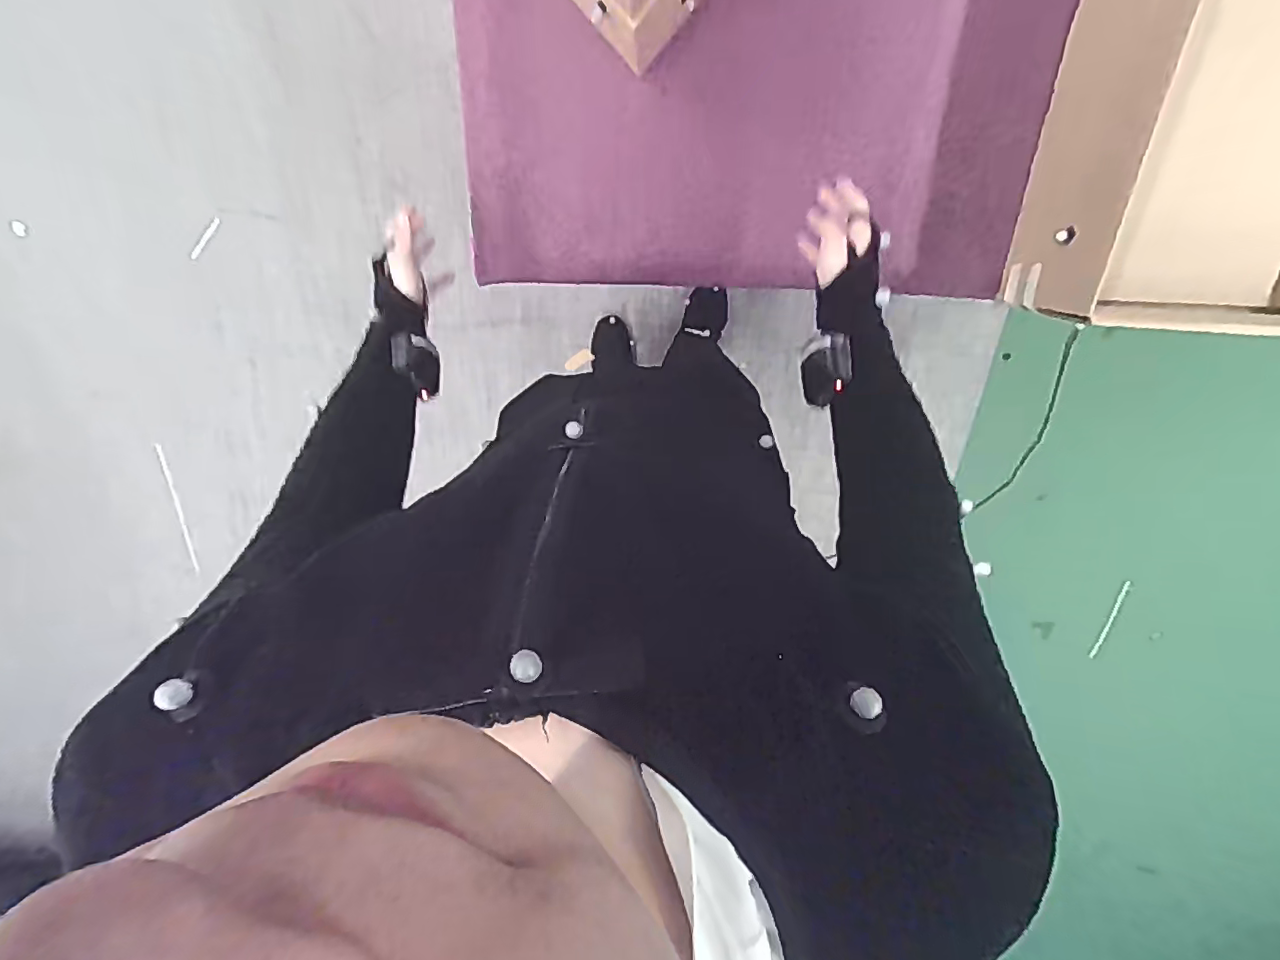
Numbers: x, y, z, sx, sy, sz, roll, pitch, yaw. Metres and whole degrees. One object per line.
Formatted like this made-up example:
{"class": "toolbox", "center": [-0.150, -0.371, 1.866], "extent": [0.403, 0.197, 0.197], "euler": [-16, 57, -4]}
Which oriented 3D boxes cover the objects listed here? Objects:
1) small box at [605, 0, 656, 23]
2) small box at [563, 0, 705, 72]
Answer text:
{"class": "small box", "center": [-0.009, -0.534, 0.436], "extent": [0.168, 0.176, 0.179], "euler": [42, 107, -16]}
{"class": "small box", "center": [-0.010, -0.592, 0.589], "extent": [0.179, 0.176, 0.168], "euler": [42, 107, -14]}
